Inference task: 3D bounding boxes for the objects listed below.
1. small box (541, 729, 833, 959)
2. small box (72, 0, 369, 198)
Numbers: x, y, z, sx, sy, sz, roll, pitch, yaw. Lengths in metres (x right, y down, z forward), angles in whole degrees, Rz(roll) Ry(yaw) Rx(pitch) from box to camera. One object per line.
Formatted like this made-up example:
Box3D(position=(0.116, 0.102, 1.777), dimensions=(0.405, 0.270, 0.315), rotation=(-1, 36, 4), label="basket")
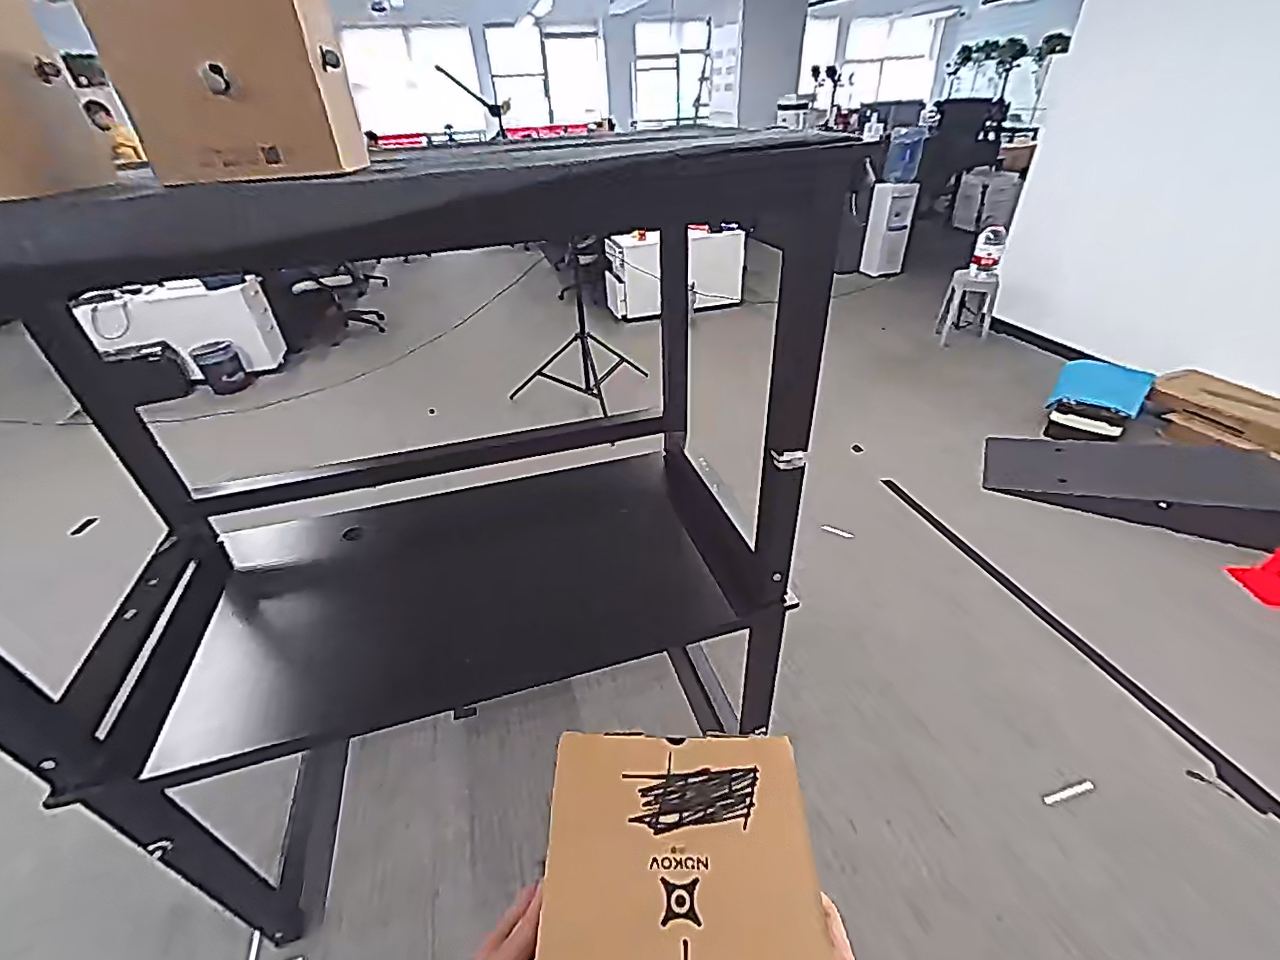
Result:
Box3D(position=(0.024, 0.300, 0.382), dimensions=(0.168, 0.176, 0.179), rotation=(1, 43, 0), label="small box")
Box3D(position=(-0.396, -0.390, 0.552), dimensions=(0.168, 0.176, 0.179), rotation=(-11, 34, -12), label="small box")
